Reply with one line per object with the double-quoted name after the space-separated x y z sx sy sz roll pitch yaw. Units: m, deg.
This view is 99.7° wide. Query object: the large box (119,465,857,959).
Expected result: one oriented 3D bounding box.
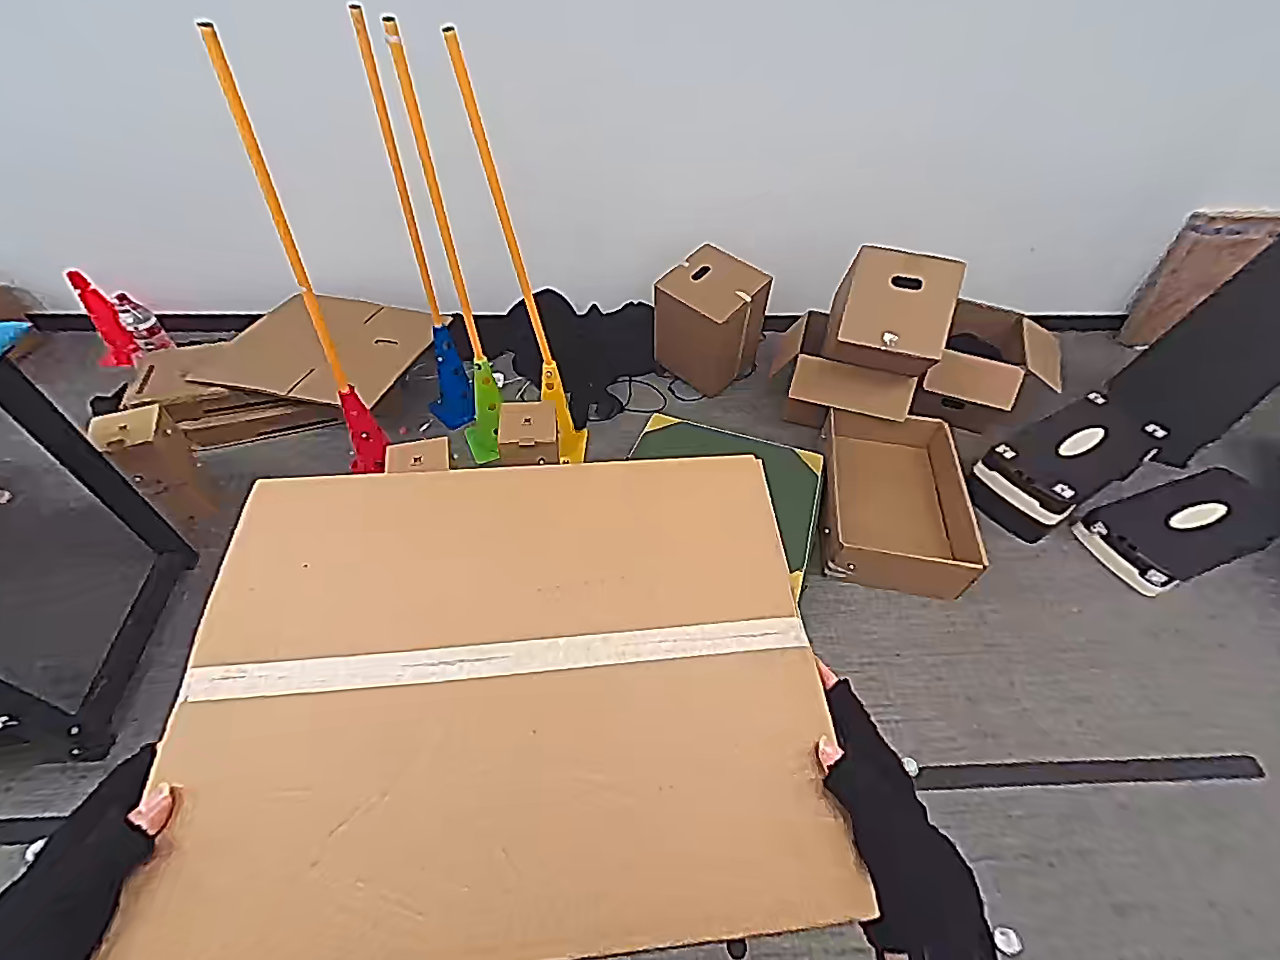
-0.092 0.209 0.491 0.408 0.320 0.320 -4 56 -5 "large box"
